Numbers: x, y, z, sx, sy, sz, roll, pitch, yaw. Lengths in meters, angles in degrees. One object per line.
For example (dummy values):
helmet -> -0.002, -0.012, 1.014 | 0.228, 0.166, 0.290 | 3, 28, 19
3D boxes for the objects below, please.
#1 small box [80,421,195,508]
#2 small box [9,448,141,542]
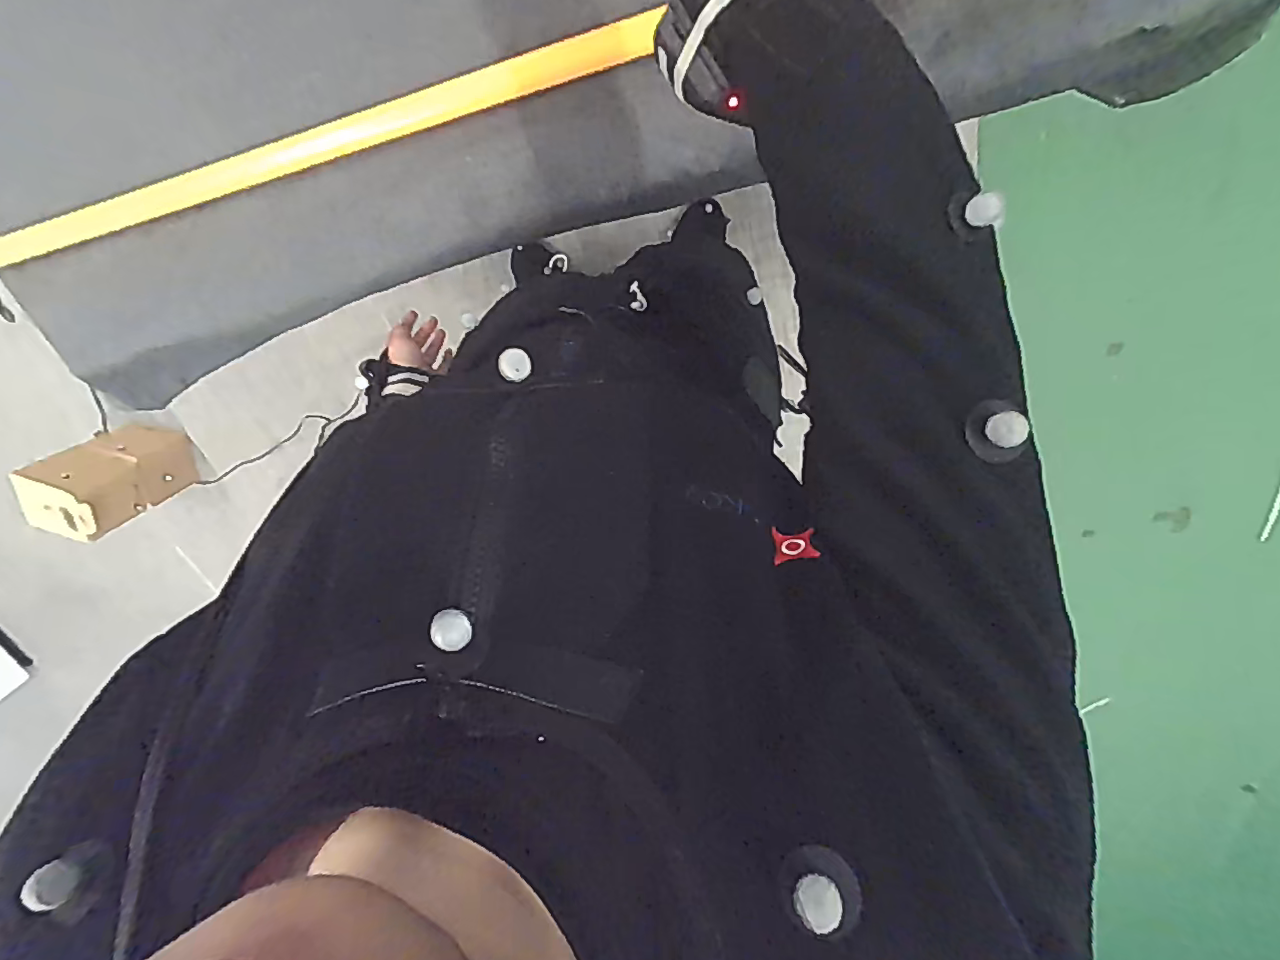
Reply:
small box -> -1.467, -0.049, 1.595 | 0.168, 0.176, 0.179 | 14, 121, 1
small box -> -1.501, 0.033, 1.456 | 0.179, 0.176, 0.168 | 19, 120, -1
